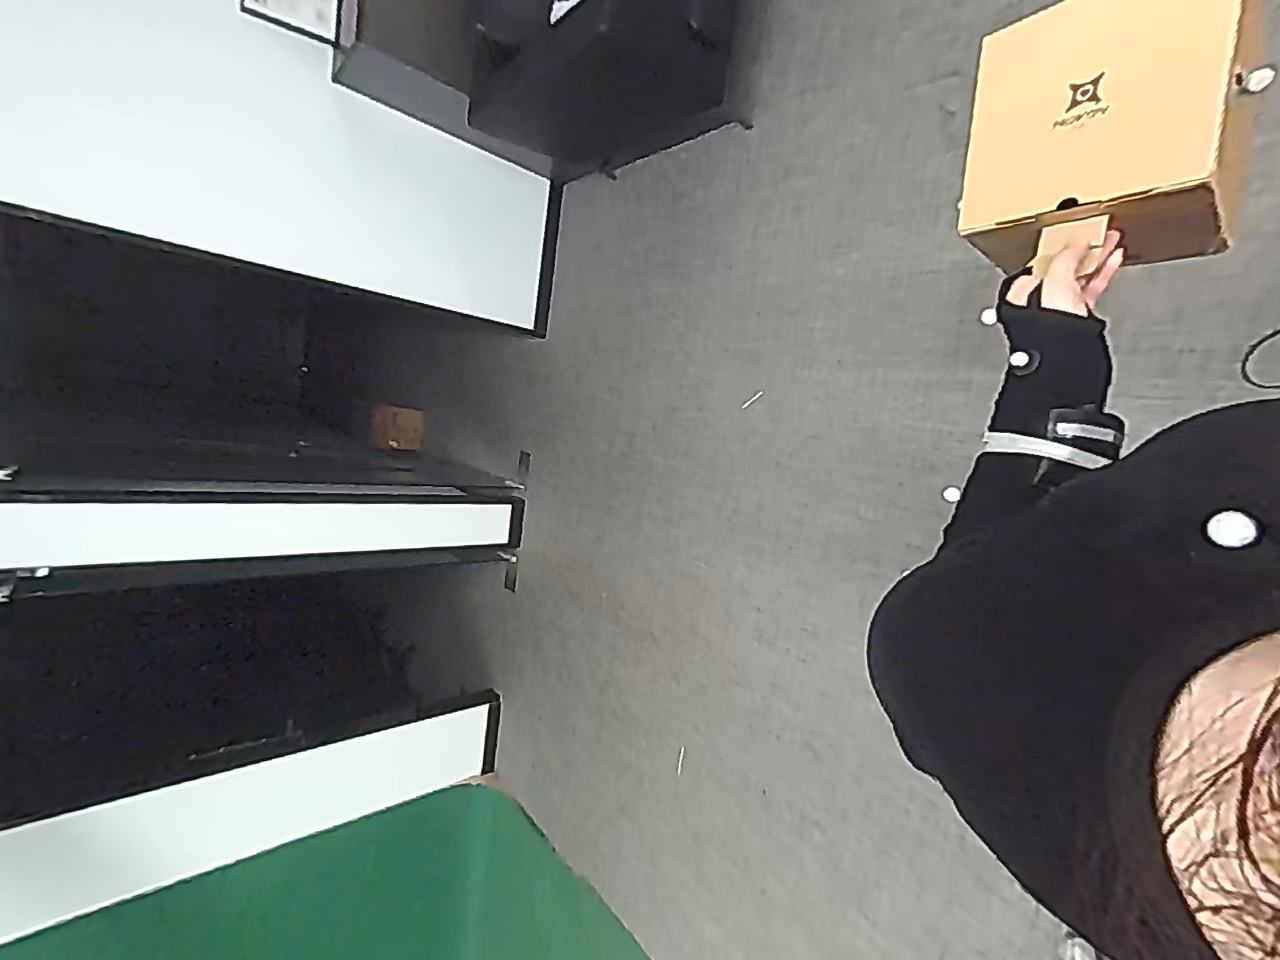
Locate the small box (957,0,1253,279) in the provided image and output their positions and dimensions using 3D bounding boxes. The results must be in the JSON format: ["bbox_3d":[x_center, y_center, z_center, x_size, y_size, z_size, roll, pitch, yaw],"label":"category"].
[{"bbox_3d":[0.416,-0.301,0.487,0.168,0.176,0.179,10,97,49],"label":"small box"}]
